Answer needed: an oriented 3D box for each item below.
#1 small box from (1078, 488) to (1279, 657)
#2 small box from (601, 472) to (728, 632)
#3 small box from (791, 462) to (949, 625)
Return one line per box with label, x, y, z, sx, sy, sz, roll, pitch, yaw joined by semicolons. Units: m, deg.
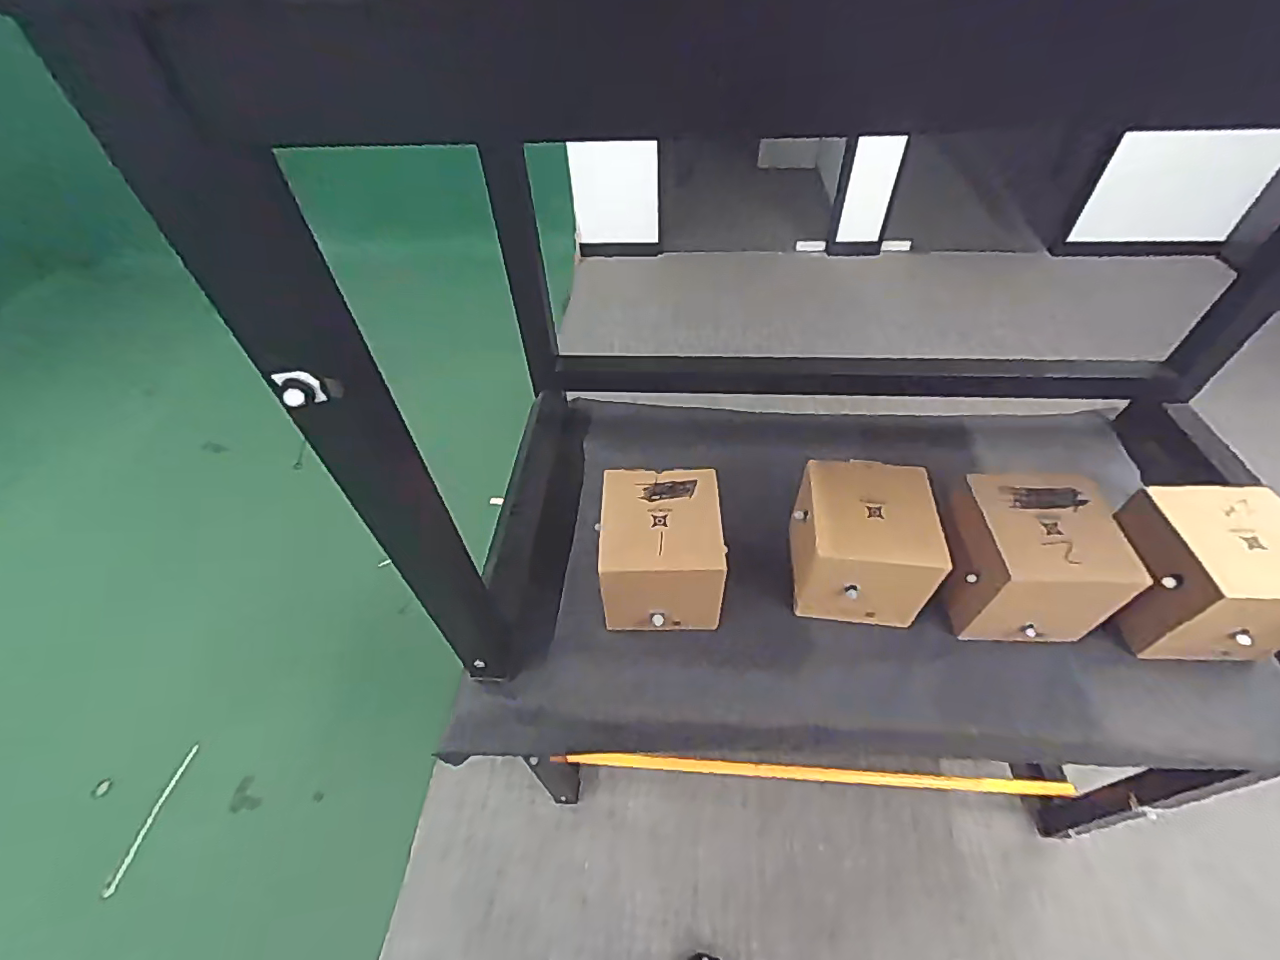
small box;0.766;0.129;0.741;0.168;0.176;0.179;0;48;3
small box;0.034;0.106;0.800;0.168;0.176;0.179;-1;49;2
small box;0.323;0.096;0.798;0.168;0.176;0.179;4;49;7
